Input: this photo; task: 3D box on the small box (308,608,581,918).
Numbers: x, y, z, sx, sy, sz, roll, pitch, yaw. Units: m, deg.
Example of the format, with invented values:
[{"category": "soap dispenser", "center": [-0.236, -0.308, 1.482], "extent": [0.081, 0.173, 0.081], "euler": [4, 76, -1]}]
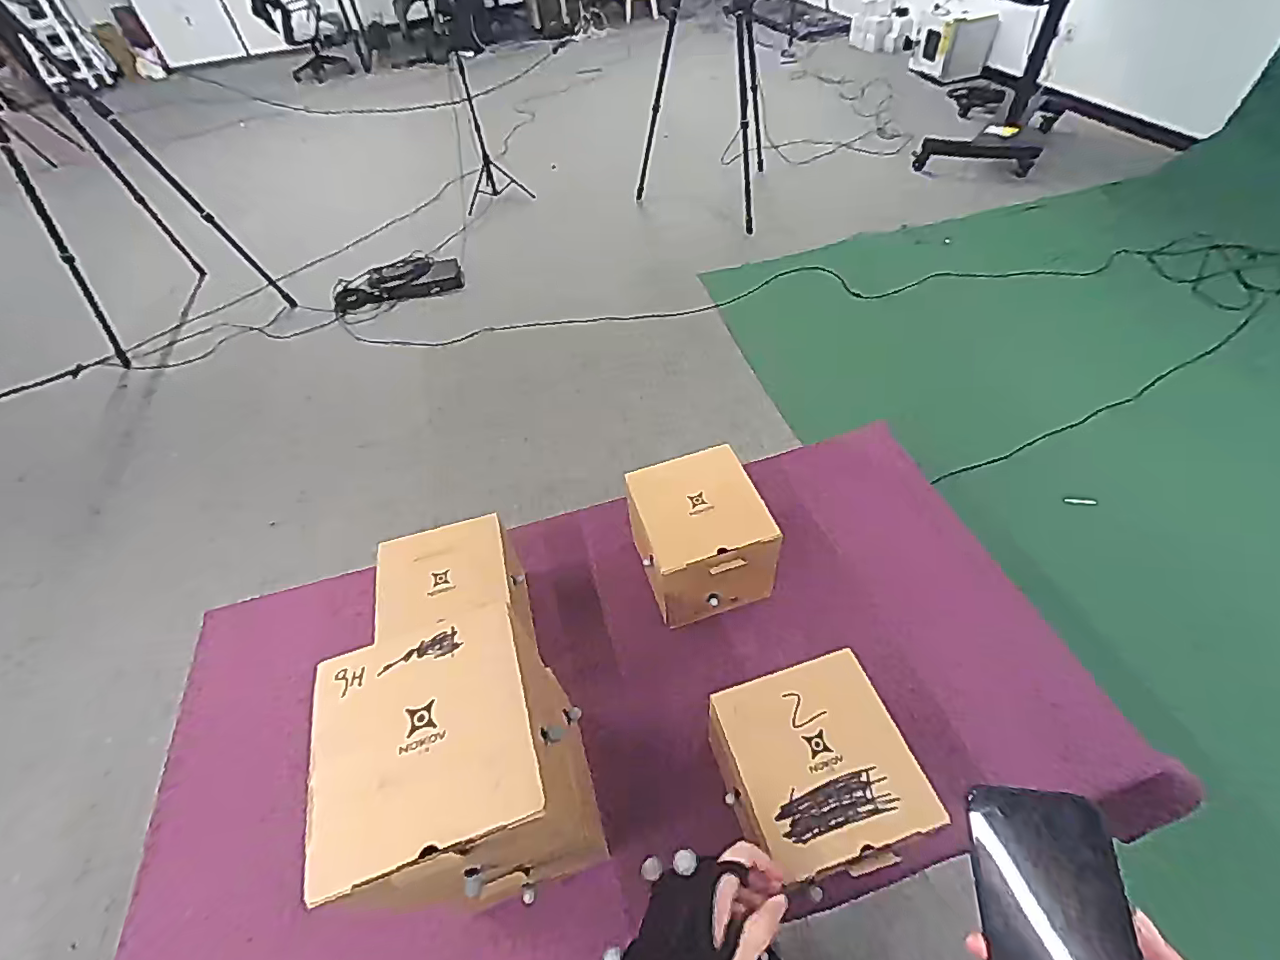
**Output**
[{"category": "small box", "center": [-0.159, 0.247, 0.476], "extent": [0.168, 0.176, 0.179], "euler": [-18, 51, -9]}]

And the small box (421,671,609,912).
[{"category": "small box", "center": [-0.142, 0.349, 0.605], "extent": [0.168, 0.176, 0.179], "euler": [-18, 51, -7]}]

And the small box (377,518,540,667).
[{"category": "small box", "center": [-0.245, 0.186, 0.753], "extent": [0.168, 0.176, 0.179], "euler": [-15, 50, -7]}]

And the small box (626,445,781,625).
[{"category": "small box", "center": [0.086, 0.082, 0.799], "extent": [0.168, 0.176, 0.179], "euler": [-18, 52, -8]}]
